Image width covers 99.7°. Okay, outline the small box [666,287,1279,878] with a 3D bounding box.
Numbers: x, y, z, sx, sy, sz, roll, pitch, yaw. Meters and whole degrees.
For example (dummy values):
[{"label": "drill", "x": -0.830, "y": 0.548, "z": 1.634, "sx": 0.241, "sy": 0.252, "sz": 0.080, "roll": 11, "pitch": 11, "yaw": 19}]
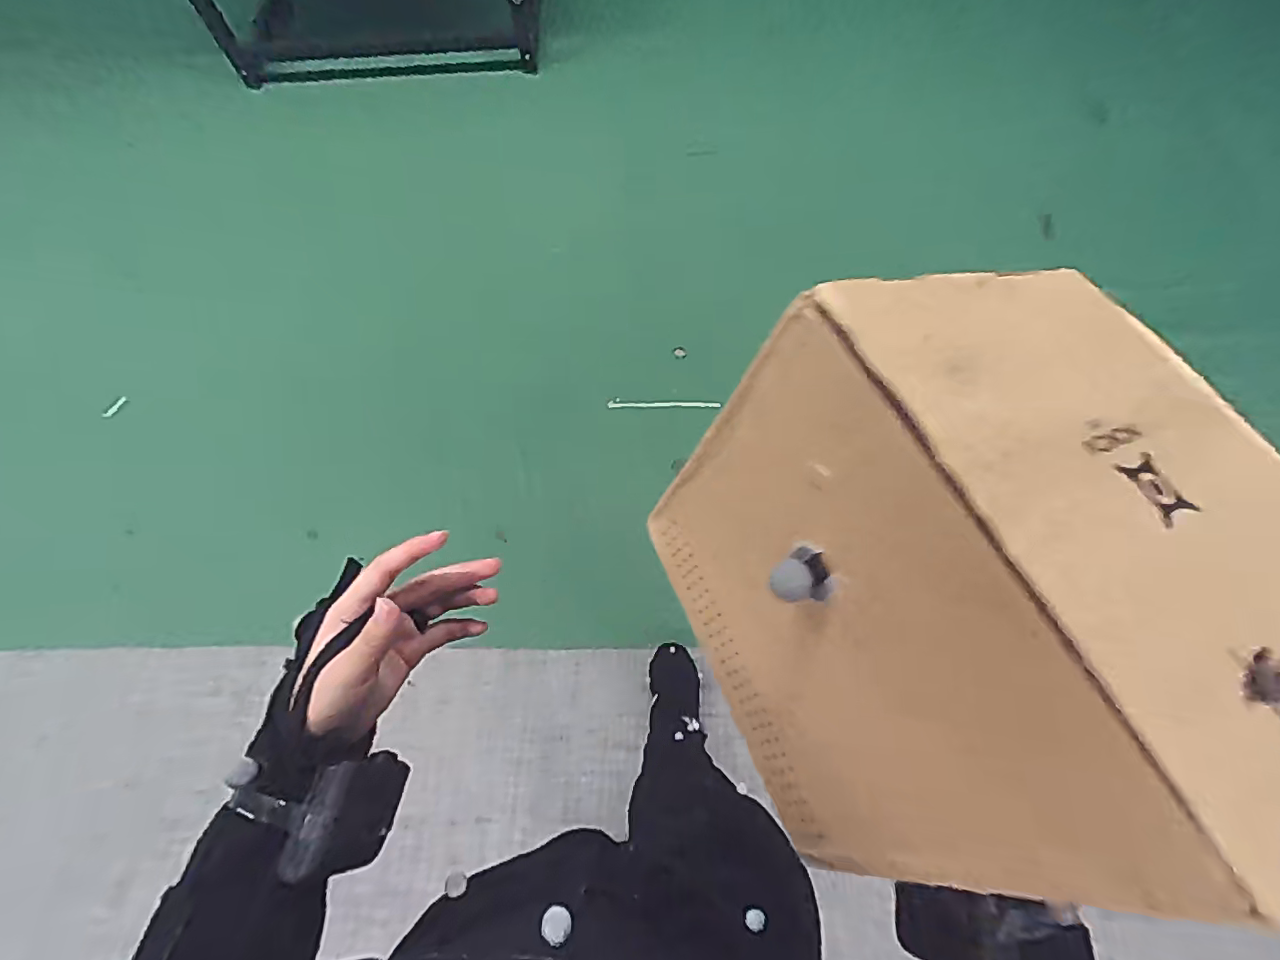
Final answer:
[{"label": "small box", "x": 0.134, "y": 0.041, "z": 0.246, "sx": 0.168, "sy": 0.176, "sz": 0.179, "roll": -15, "pitch": 65, "yaw": -26}]
